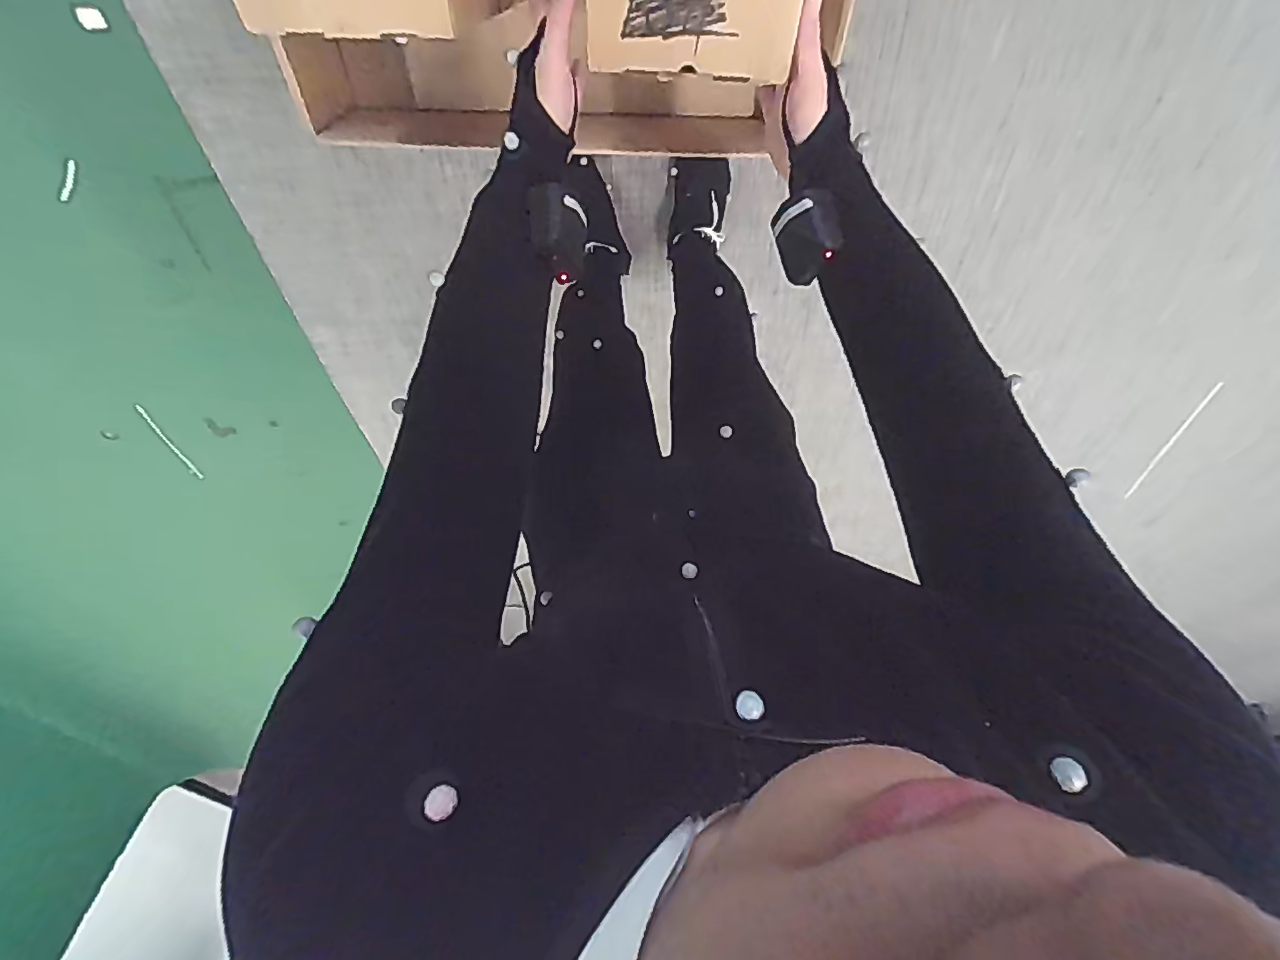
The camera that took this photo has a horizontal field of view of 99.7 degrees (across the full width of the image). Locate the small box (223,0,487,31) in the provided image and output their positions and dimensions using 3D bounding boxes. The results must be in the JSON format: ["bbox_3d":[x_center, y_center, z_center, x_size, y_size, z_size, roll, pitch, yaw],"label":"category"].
[{"bbox_3d":[-0.225,-0.463,0.408,0.168,0.176,0.179,2,136,1],"label":"small box"}]

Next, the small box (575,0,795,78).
[{"bbox_3d":[0.039,-0.444,0.423,0.168,0.176,0.179,3,136,-2],"label":"small box"}]
